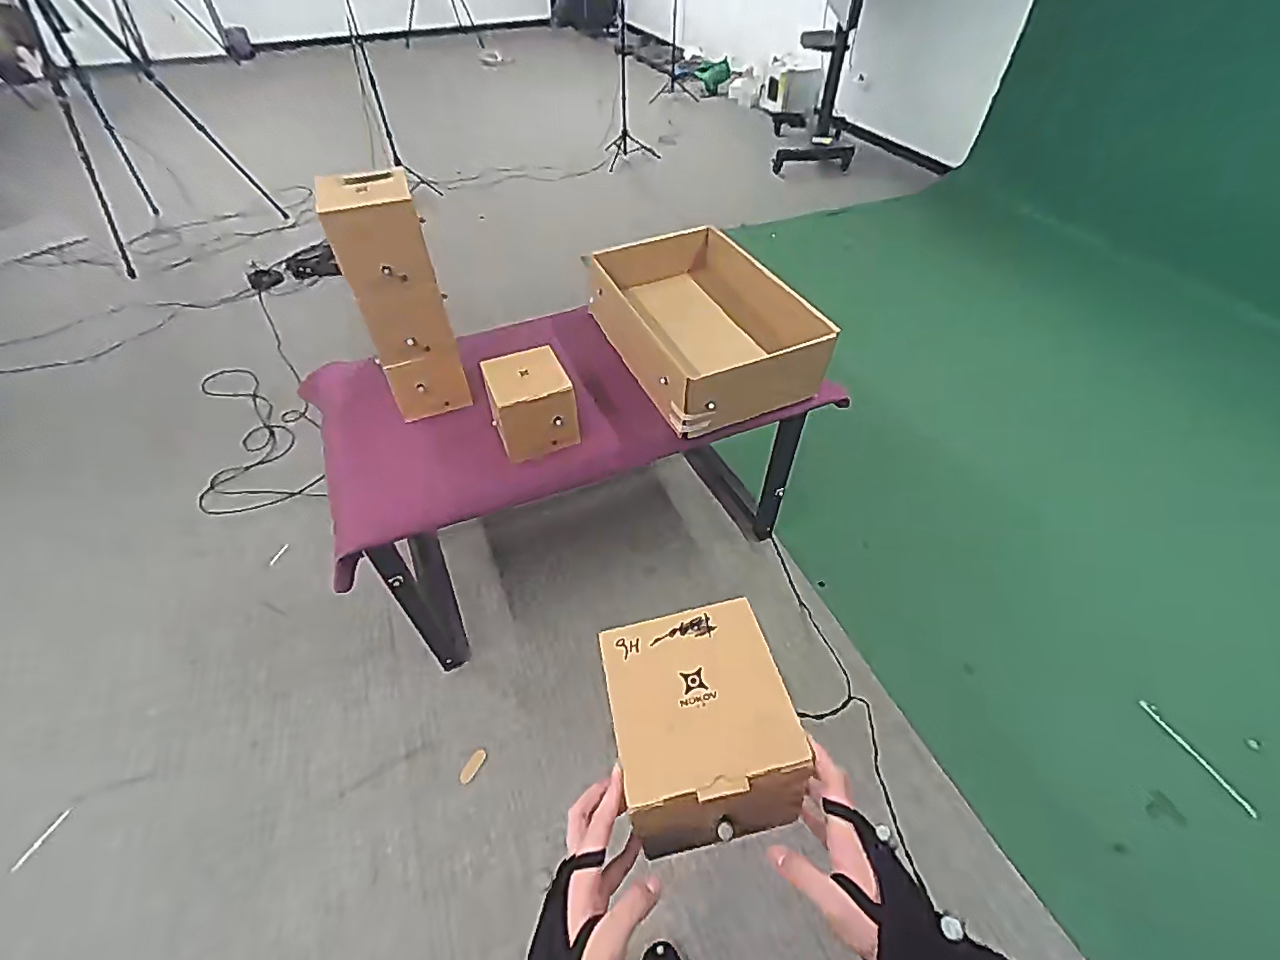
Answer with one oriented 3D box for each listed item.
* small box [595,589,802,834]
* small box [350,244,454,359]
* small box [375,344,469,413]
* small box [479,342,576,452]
[{"bbox_3d":[0.055,0.248,0.571,0.168,0.176,0.179,-12,44,-4],"label":"small box"},{"bbox_3d":[-0.526,-0.396,1.202,0.168,0.176,0.179,-16,51,-14],"label":"small box"},{"bbox_3d":[-0.532,-0.284,1.322,0.168,0.176,0.179,-20,51,-16],"label":"small box"},{"bbox_3d":[-0.252,-0.183,1.231,0.168,0.176,0.179,-18,49,-16],"label":"small box"}]
